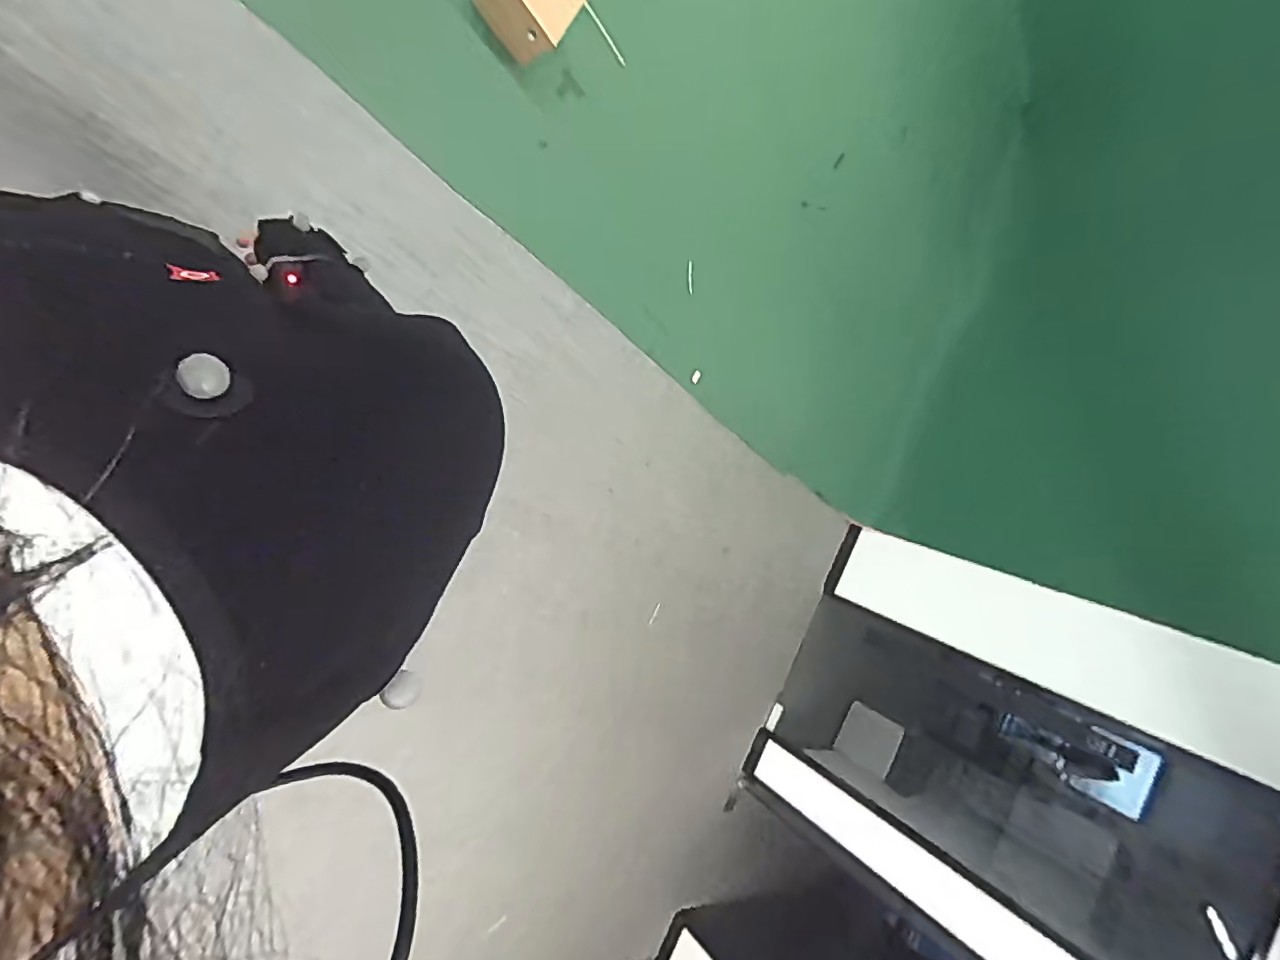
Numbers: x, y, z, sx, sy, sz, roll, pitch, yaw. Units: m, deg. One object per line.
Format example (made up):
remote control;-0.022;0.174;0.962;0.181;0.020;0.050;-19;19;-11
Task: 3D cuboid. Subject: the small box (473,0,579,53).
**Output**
small box;-0.278;-1.187;1.312;0.179;0.176;0.168;36;80;-43
